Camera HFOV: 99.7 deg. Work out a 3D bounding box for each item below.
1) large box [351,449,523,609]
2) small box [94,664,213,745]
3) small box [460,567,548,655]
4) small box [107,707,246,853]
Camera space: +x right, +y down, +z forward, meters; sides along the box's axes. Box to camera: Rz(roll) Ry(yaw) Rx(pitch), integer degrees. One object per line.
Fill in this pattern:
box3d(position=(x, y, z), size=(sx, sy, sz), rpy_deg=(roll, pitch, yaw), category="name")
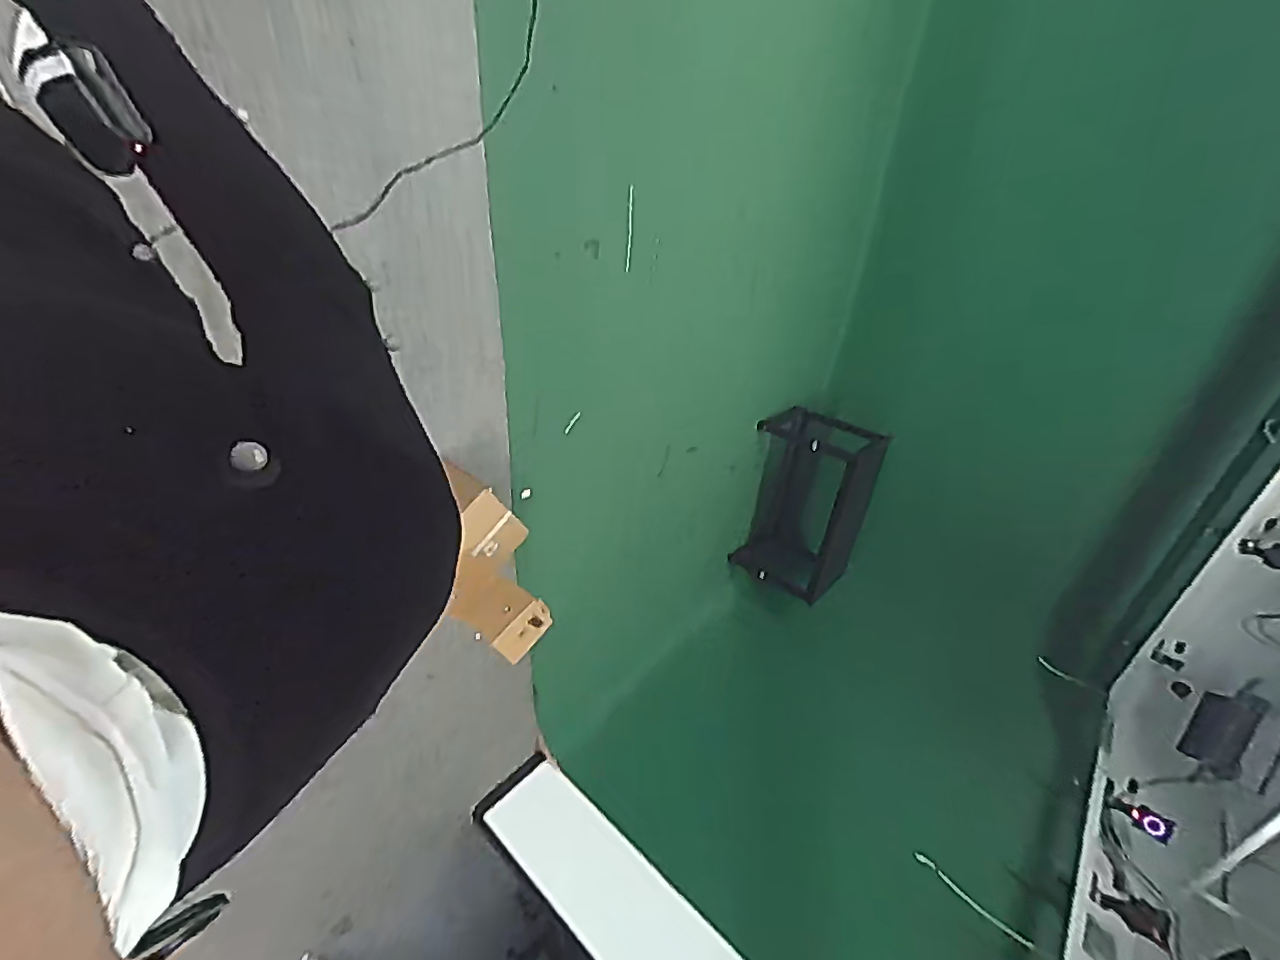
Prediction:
box3d(position=(-0.705, 0.168, 1.903), size=(0.408, 0.320, 0.320), rpy_deg=(-53, 147, -17), category="large box")
box3d(position=(-1.076, 0.542, 1.210), size=(0.168, 0.176, 0.179), rpy_deg=(-21, 128, -45), category="small box")
box3d(position=(-0.427, 0.407, 1.700), size=(0.179, 0.176, 0.168), rpy_deg=(-47, 144, -22), category="small box")
box3d(position=(-0.956, 0.604, 1.118), size=(0.168, 0.176, 0.179), rpy_deg=(-23, 131, -45), category="small box")
